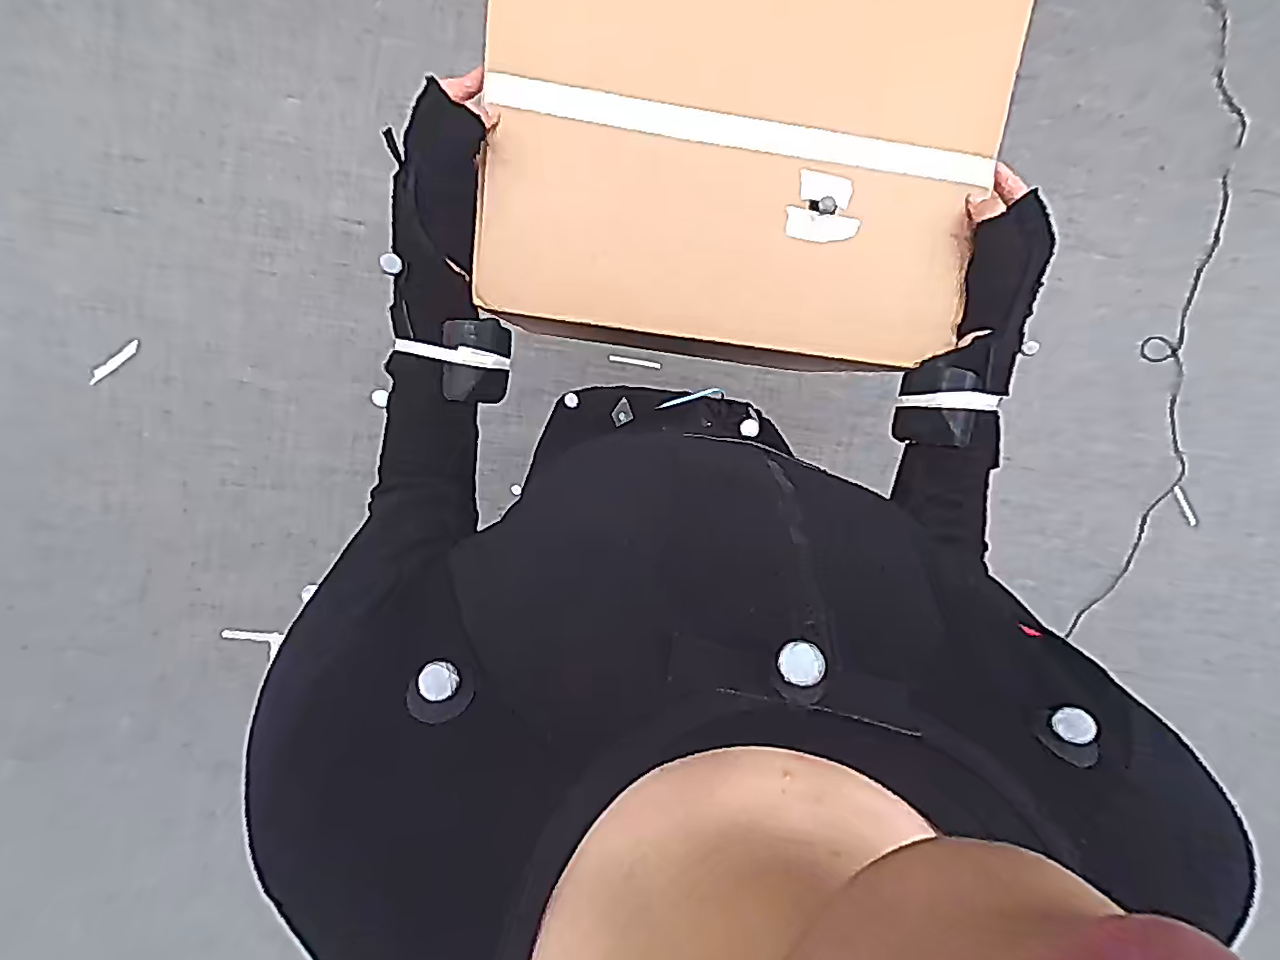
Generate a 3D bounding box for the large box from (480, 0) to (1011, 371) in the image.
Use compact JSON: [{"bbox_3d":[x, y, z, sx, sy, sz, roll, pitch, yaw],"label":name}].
[{"bbox_3d":[0.067,-0.294,0.577,0.408,0.320,0.320,6,102,-6],"label":"large box"}]
